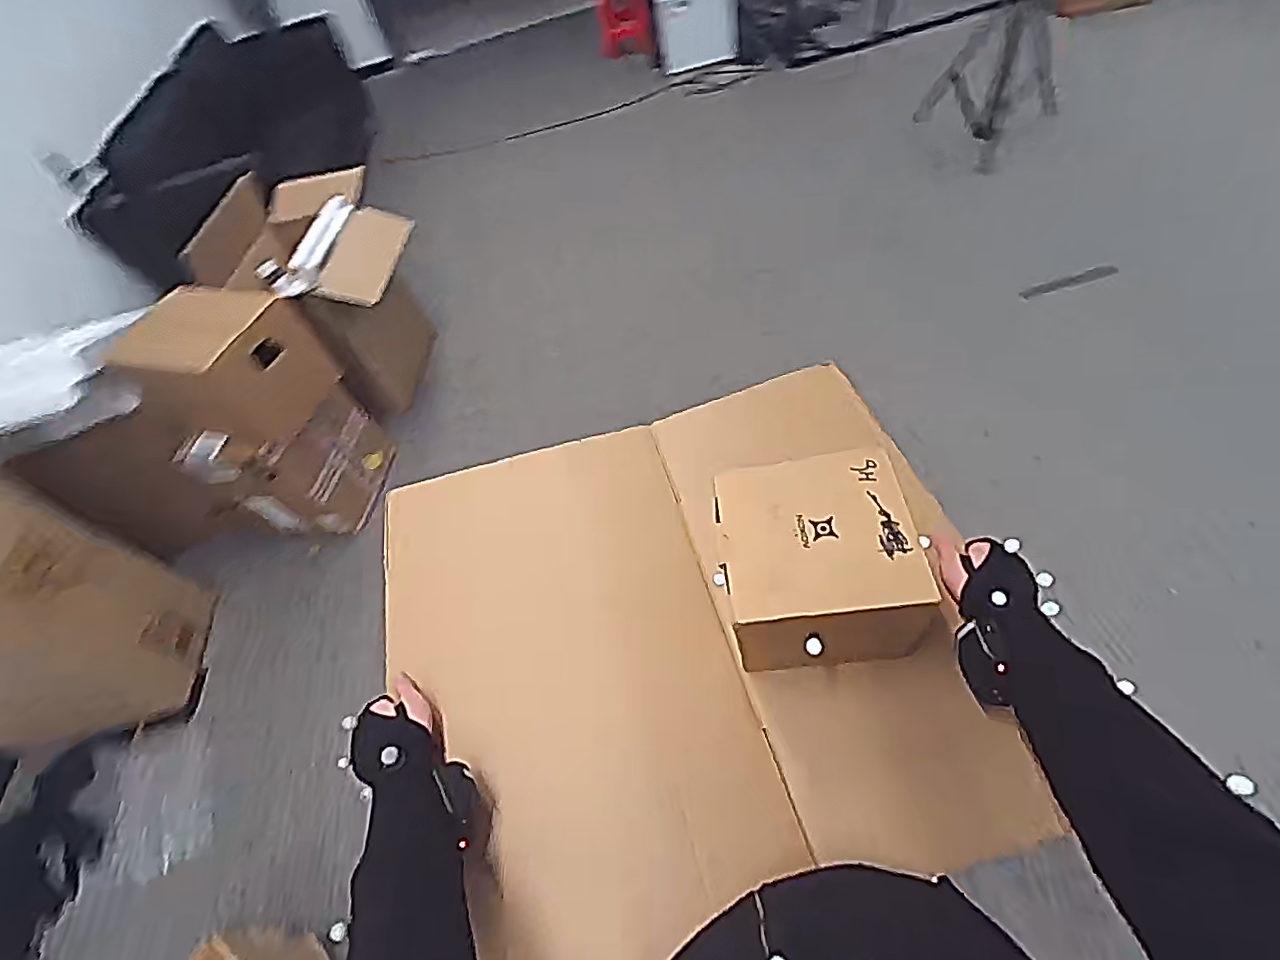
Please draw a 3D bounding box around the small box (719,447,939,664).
[{"bbox_3d":[0.188,0.090,0.579,0.179,0.176,0.168,-9,56,11],"label":"small box"}]
